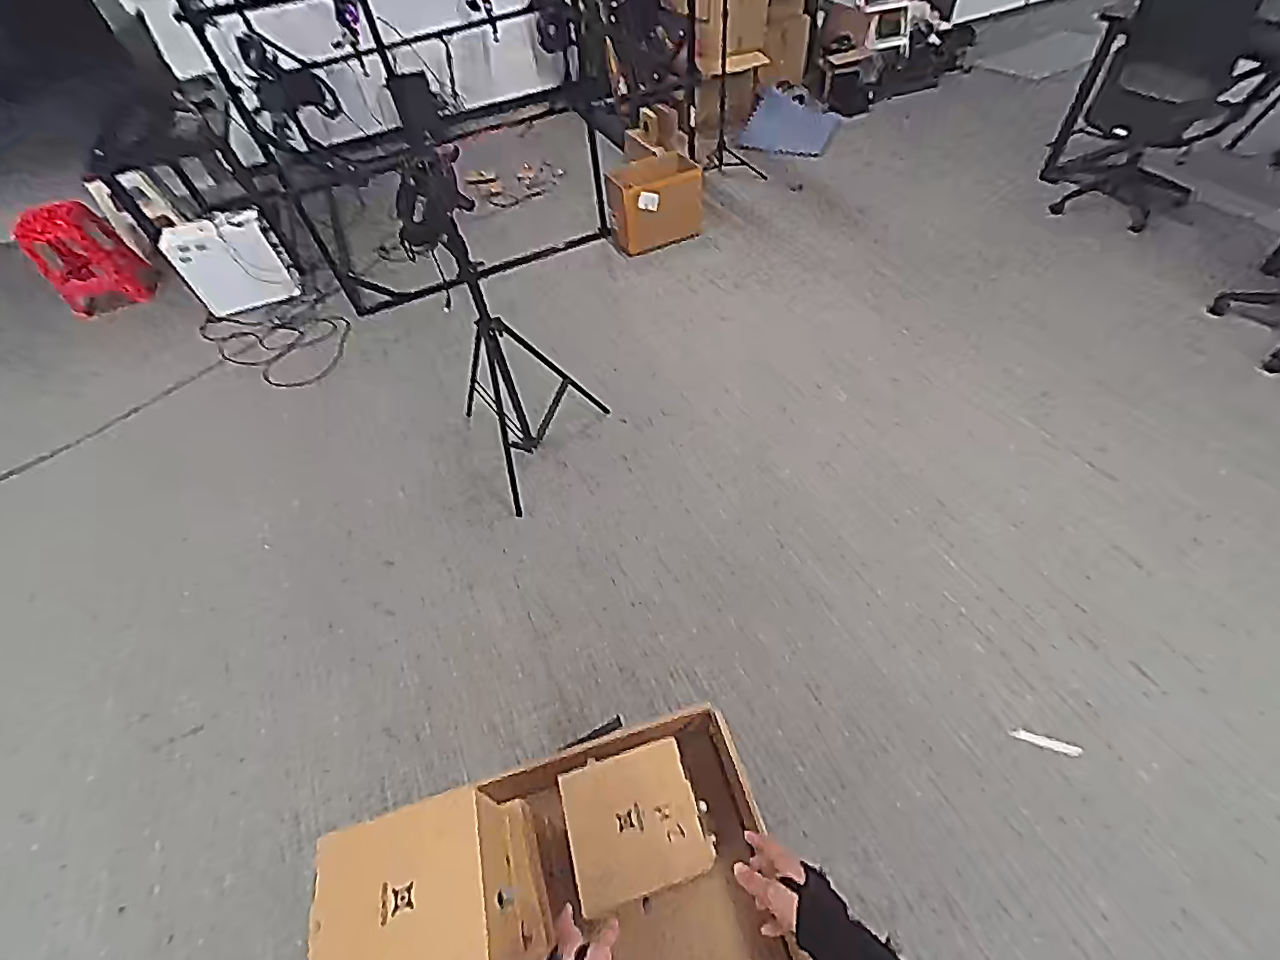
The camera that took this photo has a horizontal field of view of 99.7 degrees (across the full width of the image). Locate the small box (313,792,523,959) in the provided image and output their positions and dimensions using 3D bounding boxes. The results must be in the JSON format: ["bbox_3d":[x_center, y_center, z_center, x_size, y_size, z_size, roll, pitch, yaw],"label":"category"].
[{"bbox_3d":[-0.239,0.482,0.614,0.179,0.176,0.168,-15,51,-8],"label":"small box"}]
